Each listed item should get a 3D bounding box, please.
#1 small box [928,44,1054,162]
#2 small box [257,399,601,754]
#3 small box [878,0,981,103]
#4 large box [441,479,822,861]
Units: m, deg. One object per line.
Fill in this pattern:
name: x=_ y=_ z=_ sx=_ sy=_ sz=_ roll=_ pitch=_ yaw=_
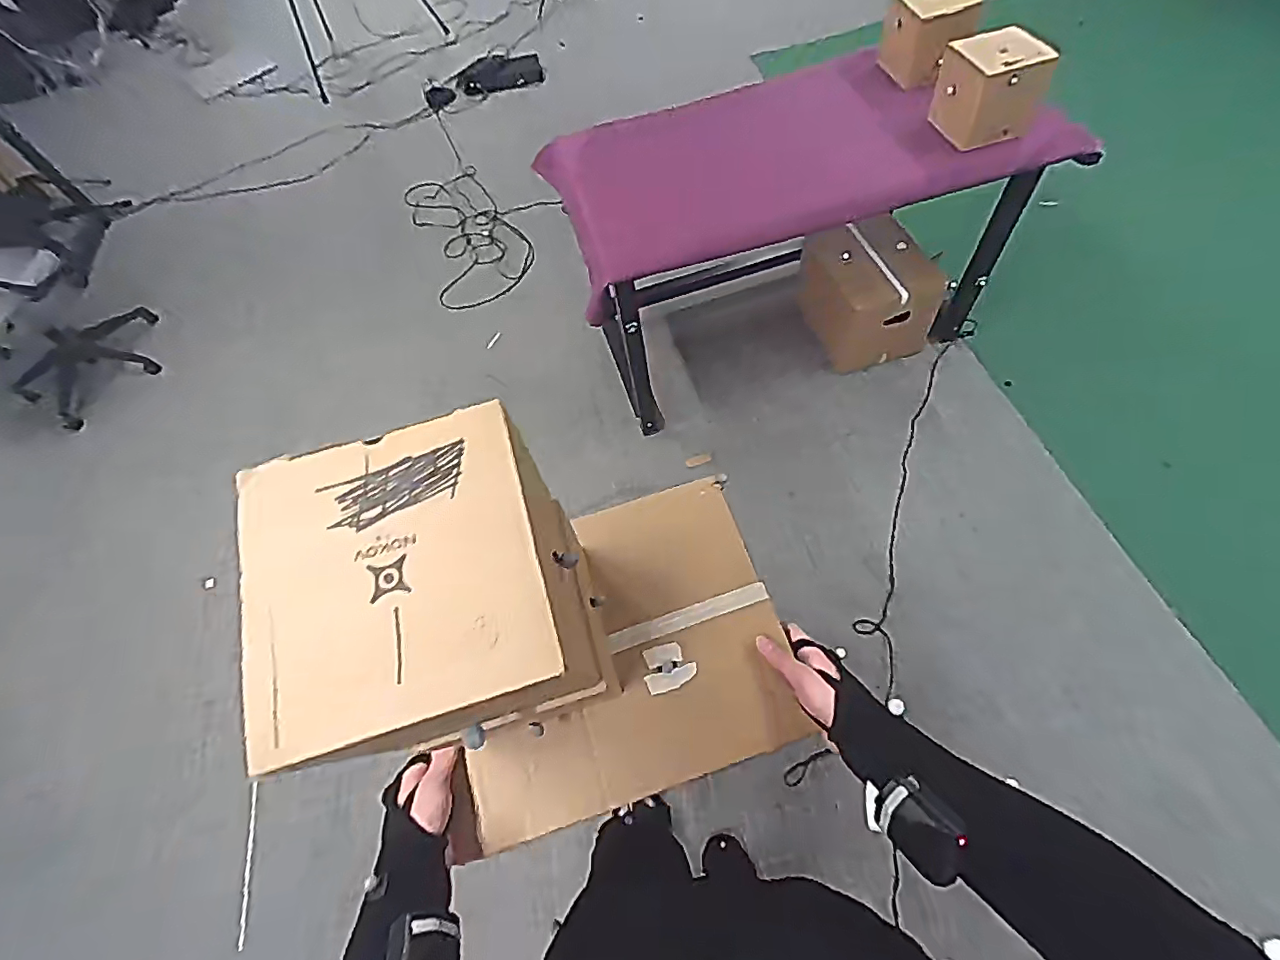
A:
small box: x=0.834 y=-0.909 z=1.309 sx=0.168 sy=0.176 sz=0.179 roll=-15 pitch=56 yaw=1
small box: x=-0.132 y=0.075 z=0.384 sx=0.168 sy=0.176 sz=0.179 roll=-16 pitch=67 yaw=-4
small box: x=0.775 y=-1.172 z=1.471 sx=0.168 sy=0.176 sz=0.179 roll=-16 pitch=60 yaw=2
large box: x=-0.033 y=0.249 z=0.749 sx=0.408 sy=0.320 sz=0.320 roll=-17 pitch=68 yaw=-6
